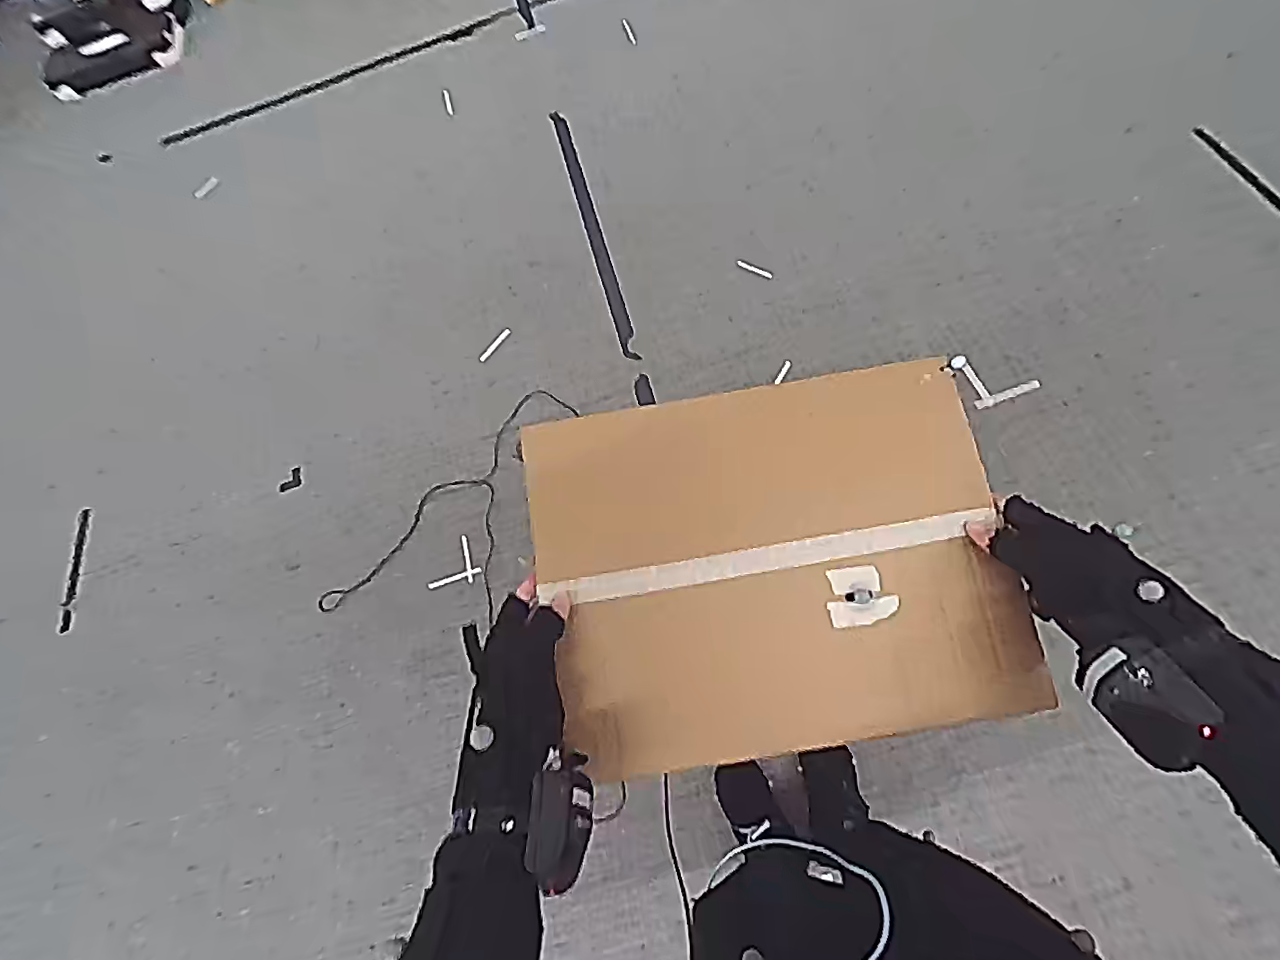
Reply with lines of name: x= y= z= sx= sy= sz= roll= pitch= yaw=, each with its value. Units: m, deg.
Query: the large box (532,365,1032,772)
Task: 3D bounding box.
large box: x=0.118 y=0.103 z=0.635 sx=0.408 sy=0.320 sz=0.320 roll=-9 pitch=77 yaw=0
